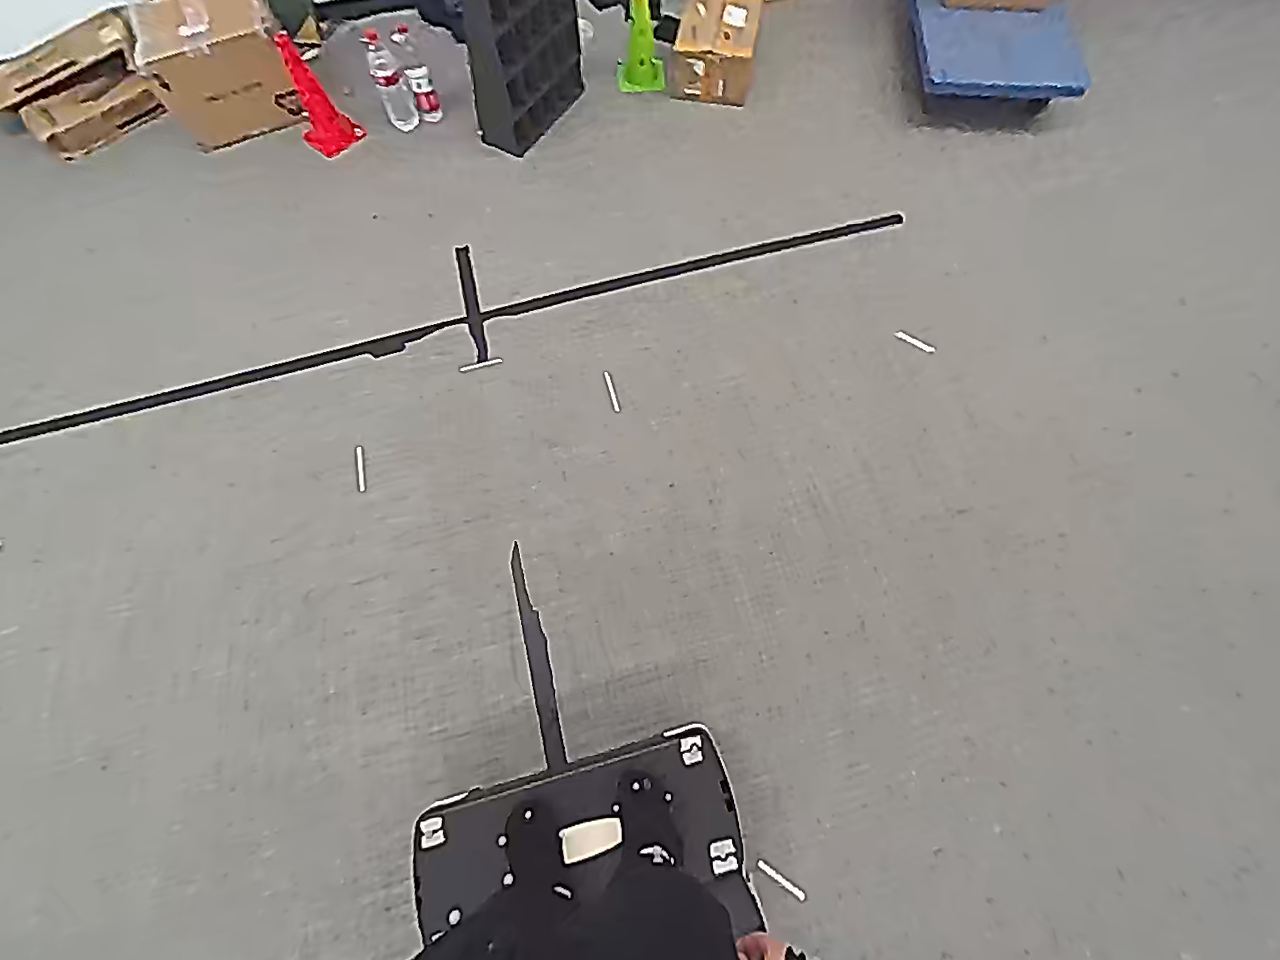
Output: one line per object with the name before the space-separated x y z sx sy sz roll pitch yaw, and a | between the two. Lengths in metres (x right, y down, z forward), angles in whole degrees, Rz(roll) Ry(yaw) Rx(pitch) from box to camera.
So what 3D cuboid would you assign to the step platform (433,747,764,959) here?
step platform | -0.086 0.799 1.169 0.684 0.204 0.286 -10 66 -4
